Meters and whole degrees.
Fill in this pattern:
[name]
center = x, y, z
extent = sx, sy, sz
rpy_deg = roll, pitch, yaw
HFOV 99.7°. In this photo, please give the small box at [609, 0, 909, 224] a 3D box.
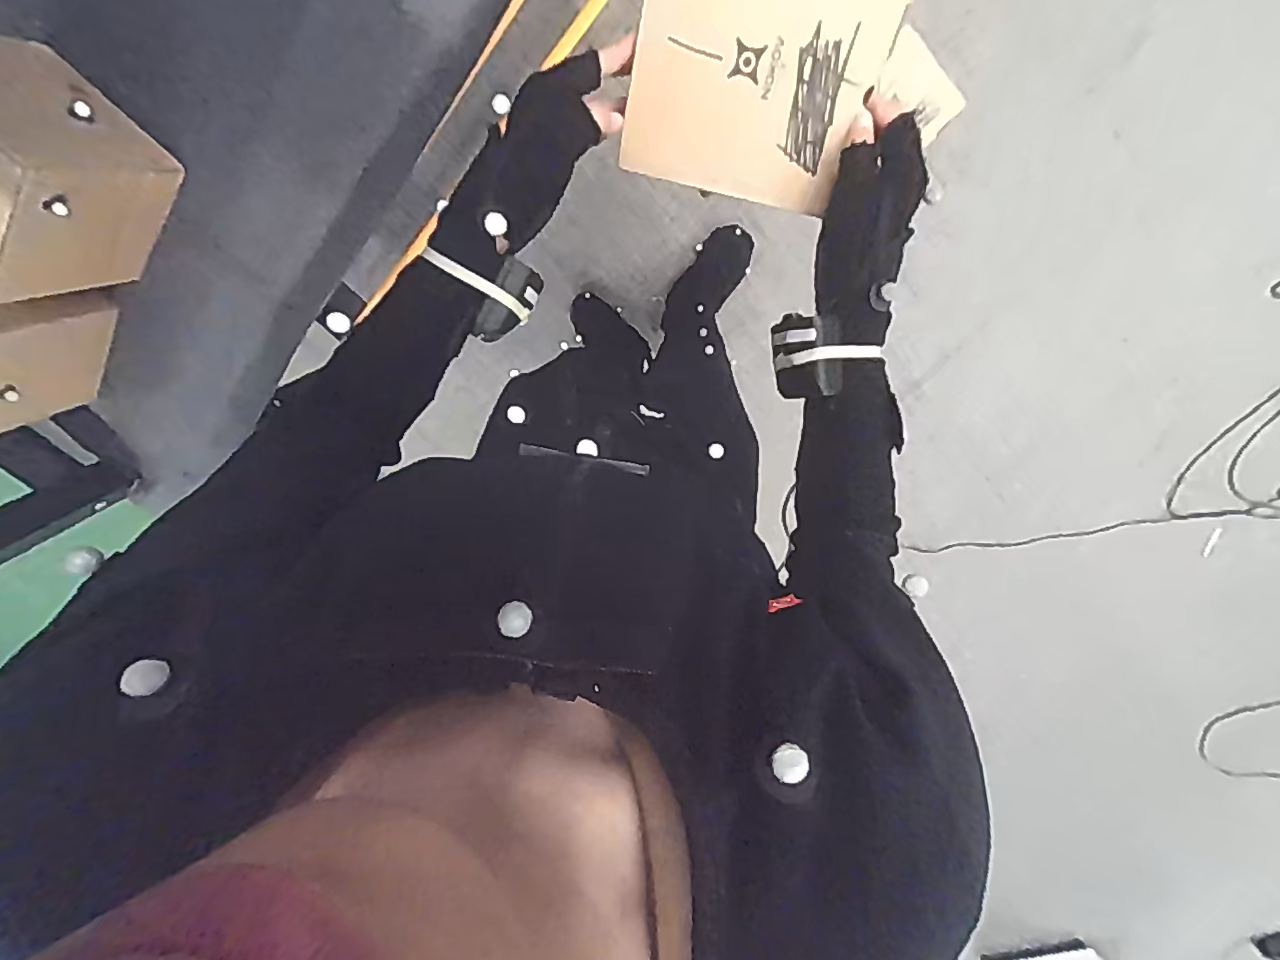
[small box]
center = 0.081, -0.332, 0.440
extent = 0.179, 0.176, 0.168
rpy_deg = 12, 127, -5
